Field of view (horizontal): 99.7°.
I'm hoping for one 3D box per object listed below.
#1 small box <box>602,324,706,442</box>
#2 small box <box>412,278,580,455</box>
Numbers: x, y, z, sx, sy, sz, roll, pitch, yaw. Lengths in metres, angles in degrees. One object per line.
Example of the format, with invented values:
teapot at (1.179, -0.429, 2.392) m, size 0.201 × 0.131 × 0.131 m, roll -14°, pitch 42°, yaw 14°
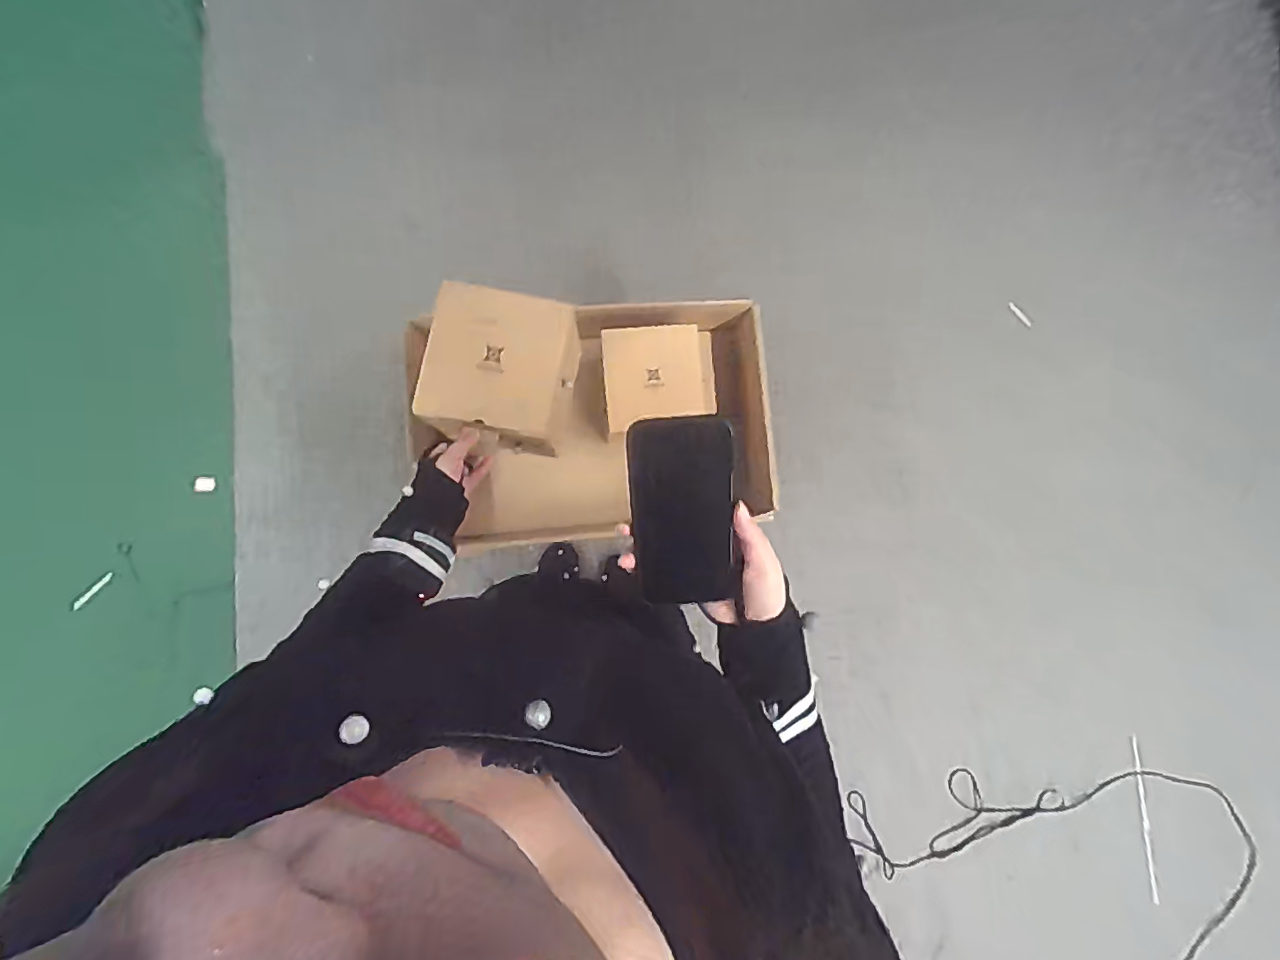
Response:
small box at (0.019, -0.168, 0.981) m, size 0.168 × 0.176 × 0.179 m, roll -4°, pitch 89°, yaw -5°
small box at (-0.180, -0.141, 0.736) m, size 0.168 × 0.176 × 0.179 m, roll 12°, pitch 83°, yaw -1°
